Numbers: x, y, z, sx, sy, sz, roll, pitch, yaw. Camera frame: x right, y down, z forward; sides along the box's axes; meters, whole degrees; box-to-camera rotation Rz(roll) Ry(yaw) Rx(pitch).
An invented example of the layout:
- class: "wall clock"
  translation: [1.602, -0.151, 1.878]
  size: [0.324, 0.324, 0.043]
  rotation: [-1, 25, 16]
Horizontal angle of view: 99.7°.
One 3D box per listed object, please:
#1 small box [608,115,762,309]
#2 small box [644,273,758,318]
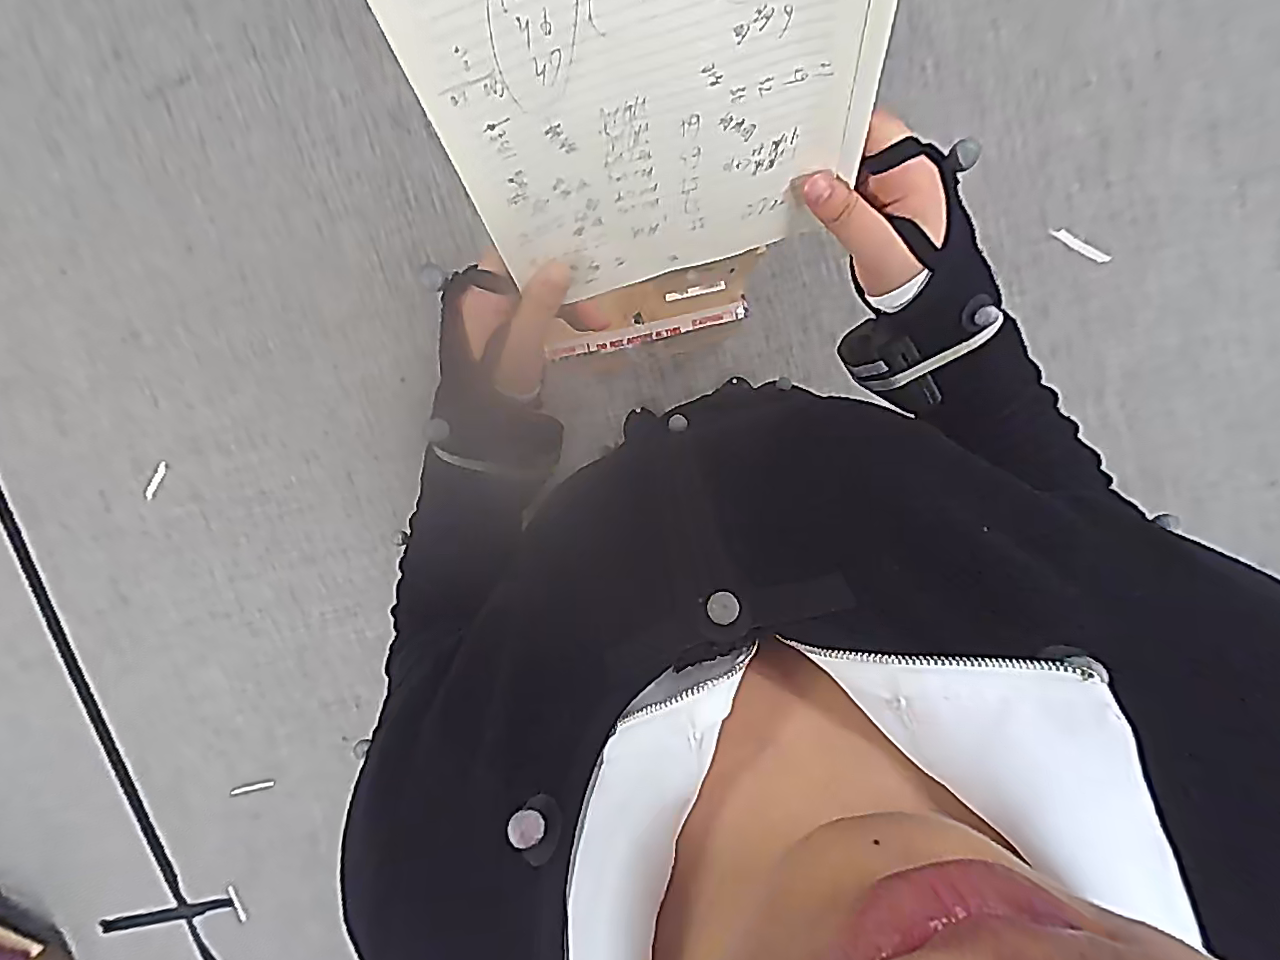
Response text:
- class: "small box"
  translation: [0.054, -0.339, 0.718]
  size: [0.168, 0.176, 0.179]
  rotation: [-9, 100, 3]
- class: "small box"
  translation: [0.077, -0.373, 0.879]
  size: [0.179, 0.176, 0.168]
  rotation: [-13, 99, 4]
